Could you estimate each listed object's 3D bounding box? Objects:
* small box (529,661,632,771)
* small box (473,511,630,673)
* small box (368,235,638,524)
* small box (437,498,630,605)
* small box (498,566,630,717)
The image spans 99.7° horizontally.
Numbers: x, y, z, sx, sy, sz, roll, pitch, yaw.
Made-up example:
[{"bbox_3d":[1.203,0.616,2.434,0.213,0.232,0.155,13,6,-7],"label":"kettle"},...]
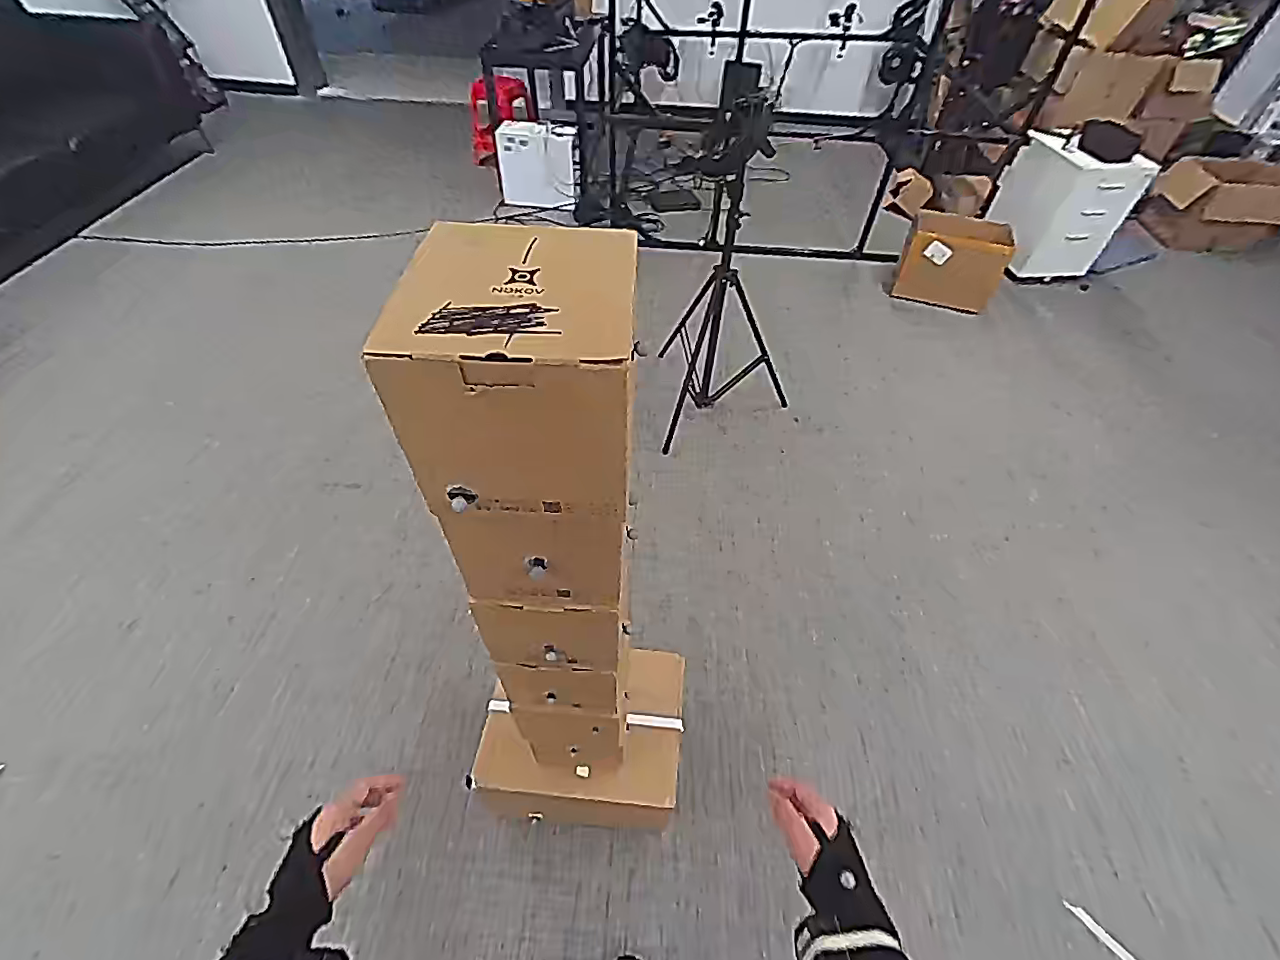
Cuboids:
[{"bbox_3d":[-0.109,0.461,1.062,0.179,0.176,0.168,4,50,0],"label":"small box"},{"bbox_3d":[-0.101,0.130,0.699,0.168,0.176,0.179,2,50,0],"label":"small box"},{"bbox_3d":[-0.086,-0.079,0.446,0.168,0.176,0.179,2,50,-1],"label":"small box"},{"bbox_3d":[-0.095,0.020,0.578,0.168,0.176,0.179,3,51,-1],"label":"small box"},{"bbox_3d":[-0.106,0.240,0.822,0.168,0.176,0.179,4,50,0],"label":"small box"}]
